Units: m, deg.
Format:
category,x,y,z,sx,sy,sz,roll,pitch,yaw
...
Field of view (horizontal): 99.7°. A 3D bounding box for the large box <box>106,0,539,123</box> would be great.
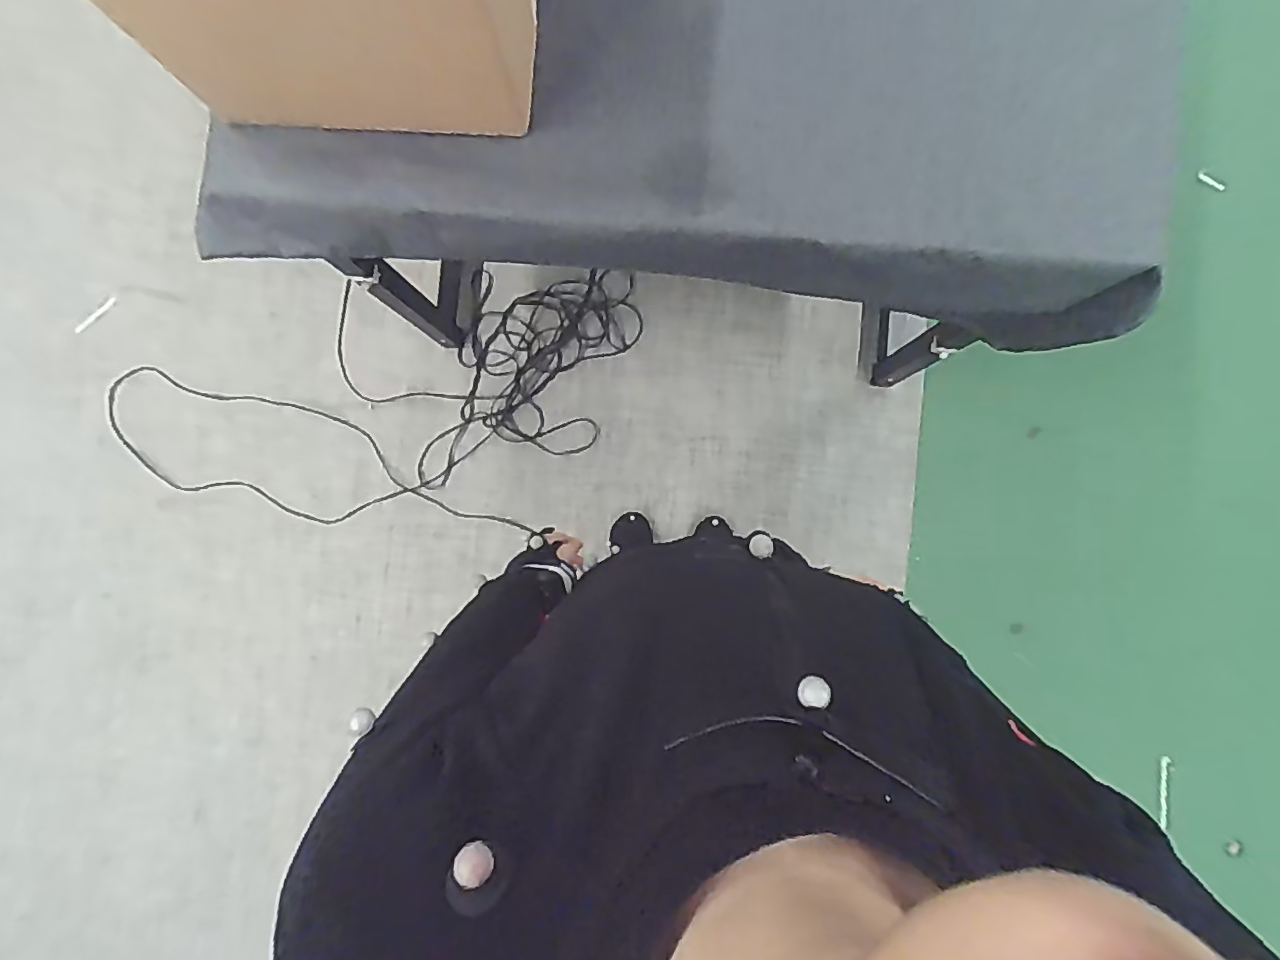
category,x,y,z,sx,sy,sz,roll,pitch,yaw
large box,-0.330,-0.617,0.552,0.408,0.320,0.320,2,88,1
